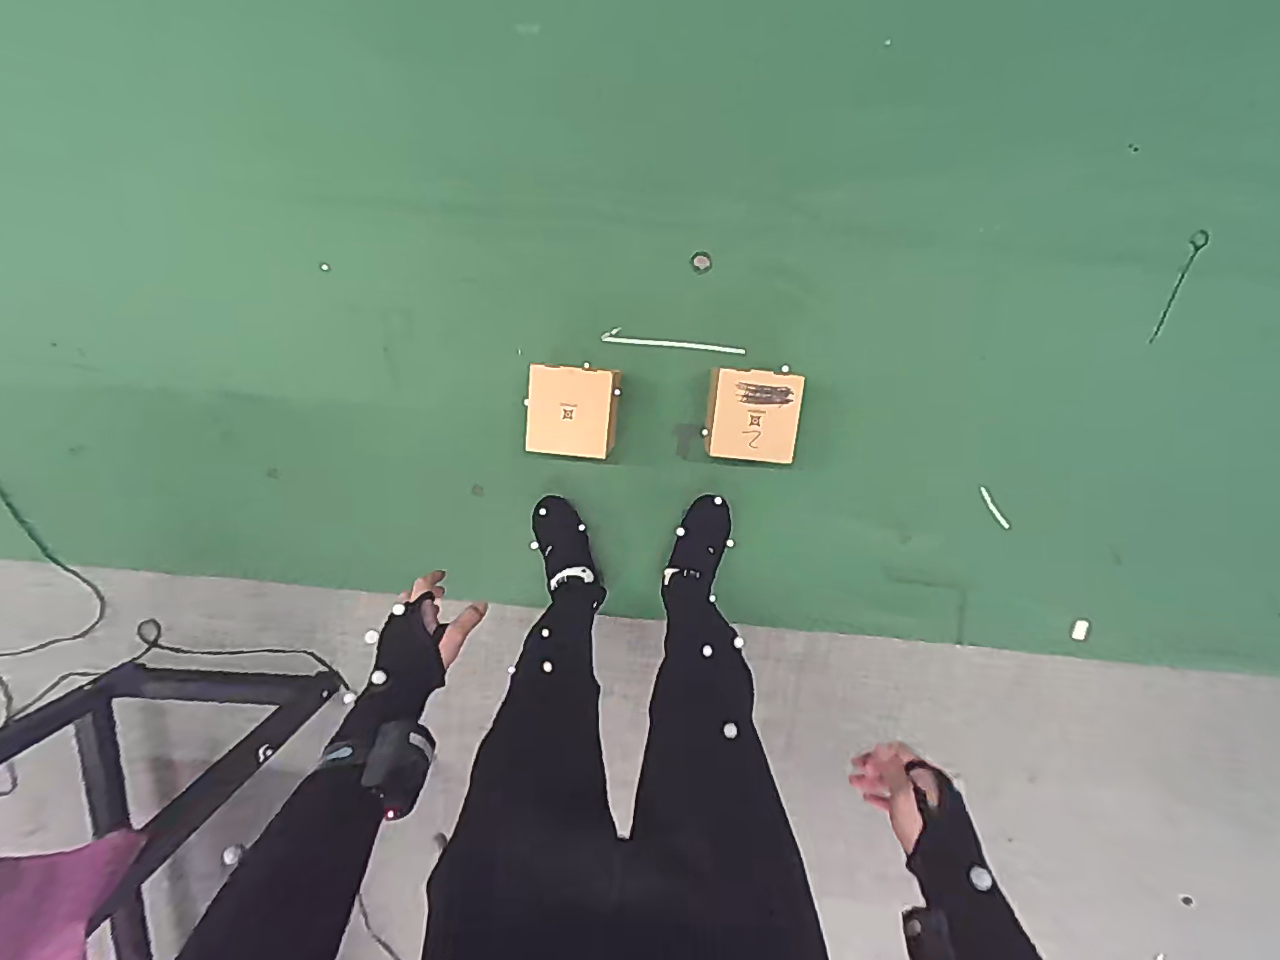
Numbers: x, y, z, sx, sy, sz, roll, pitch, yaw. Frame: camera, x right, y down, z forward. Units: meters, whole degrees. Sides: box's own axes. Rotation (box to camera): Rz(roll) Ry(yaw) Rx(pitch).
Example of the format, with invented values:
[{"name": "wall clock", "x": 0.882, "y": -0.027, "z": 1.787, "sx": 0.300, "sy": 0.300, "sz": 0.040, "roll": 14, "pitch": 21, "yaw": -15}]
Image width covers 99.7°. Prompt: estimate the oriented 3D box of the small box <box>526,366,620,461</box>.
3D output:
[{"name": "small box", "x": -0.136, "y": -0.144, "z": 1.148, "sx": 0.168, "sy": 0.176, "sz": 0.179, "roll": 6, "pitch": 100, "yaw": 2}]
